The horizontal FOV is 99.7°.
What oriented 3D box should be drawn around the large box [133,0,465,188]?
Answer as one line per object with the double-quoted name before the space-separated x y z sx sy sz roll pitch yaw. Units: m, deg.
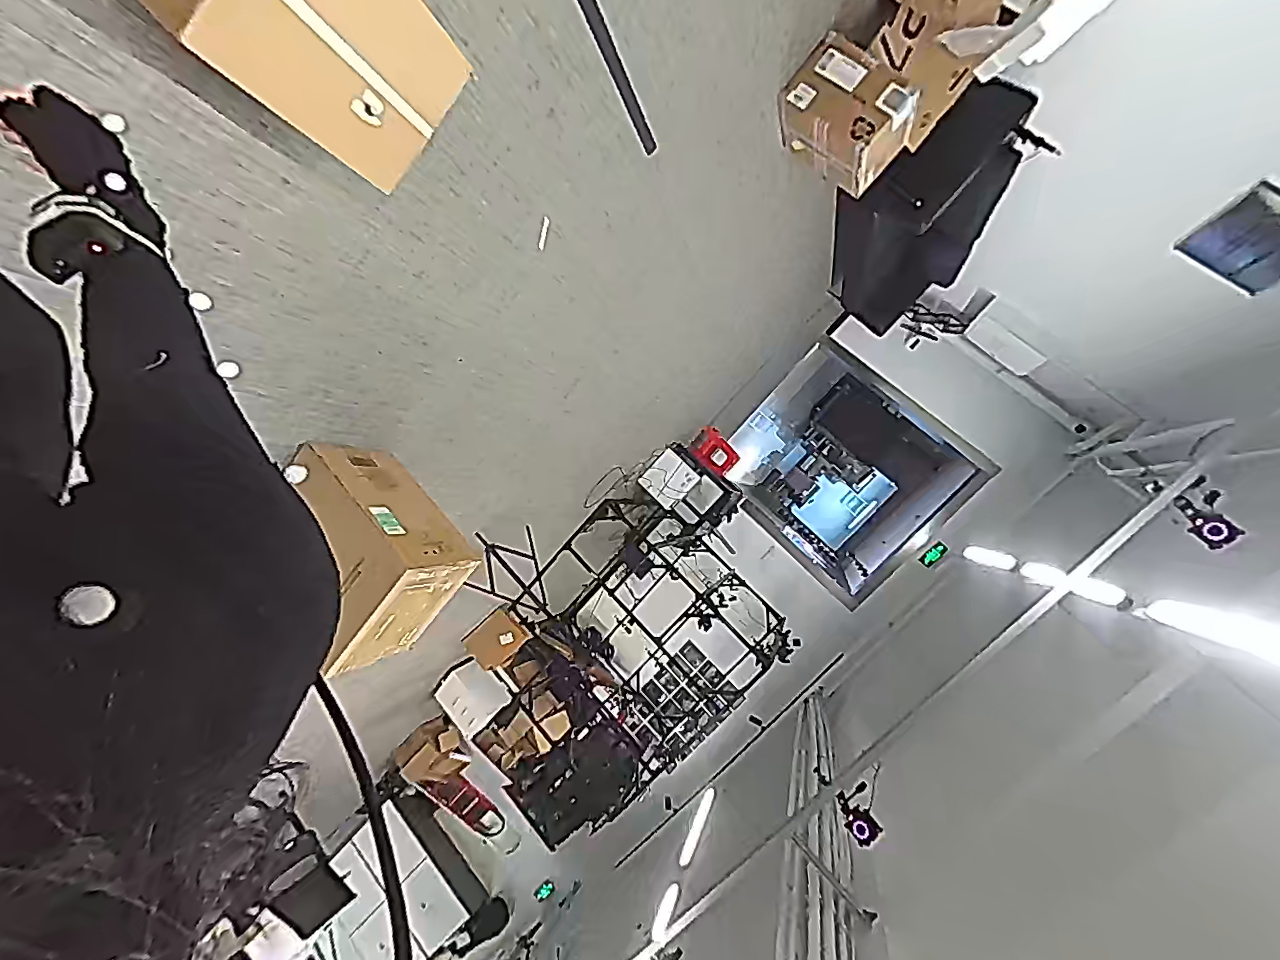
"large box" -0.610 -0.829 0.957 0.320 0.320 0.408 -48 167 9
